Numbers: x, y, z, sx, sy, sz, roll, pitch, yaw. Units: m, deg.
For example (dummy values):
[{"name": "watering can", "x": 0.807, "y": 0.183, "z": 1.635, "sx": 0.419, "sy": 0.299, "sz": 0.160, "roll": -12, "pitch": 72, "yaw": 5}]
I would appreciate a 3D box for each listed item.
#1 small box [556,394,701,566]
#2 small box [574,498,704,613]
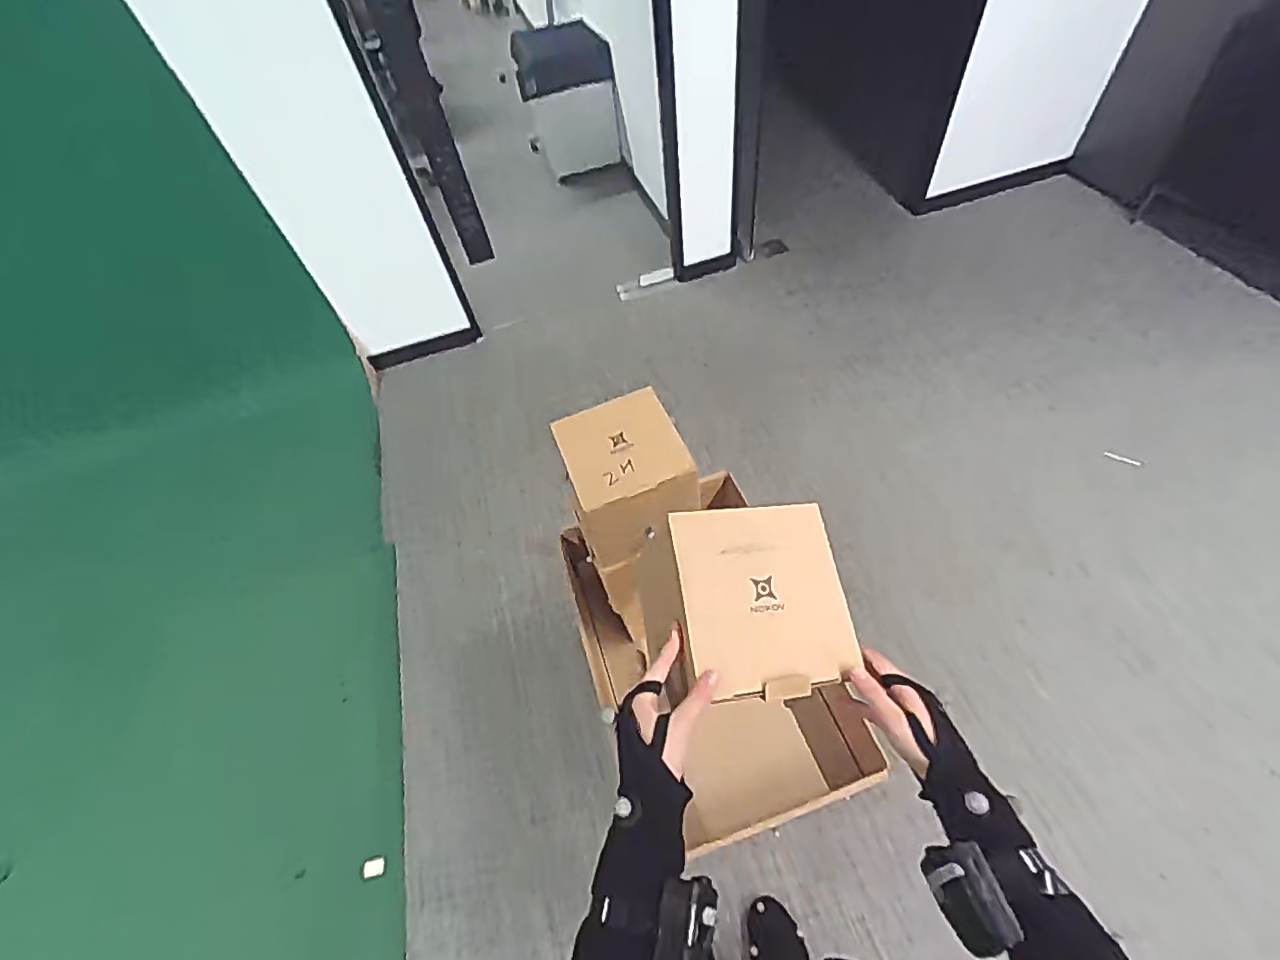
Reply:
[{"name": "small box", "x": -0.015, "y": 0.003, "z": 0.838, "sx": 0.168, "sy": 0.176, "sz": 0.179, "roll": -21, "pitch": 55, "yaw": -6}, {"name": "small box", "x": 0.002, "y": 0.109, "z": 0.964, "sx": 0.179, "sy": 0.176, "sz": 0.168, "roll": -23, "pitch": 55, "yaw": -7}]
